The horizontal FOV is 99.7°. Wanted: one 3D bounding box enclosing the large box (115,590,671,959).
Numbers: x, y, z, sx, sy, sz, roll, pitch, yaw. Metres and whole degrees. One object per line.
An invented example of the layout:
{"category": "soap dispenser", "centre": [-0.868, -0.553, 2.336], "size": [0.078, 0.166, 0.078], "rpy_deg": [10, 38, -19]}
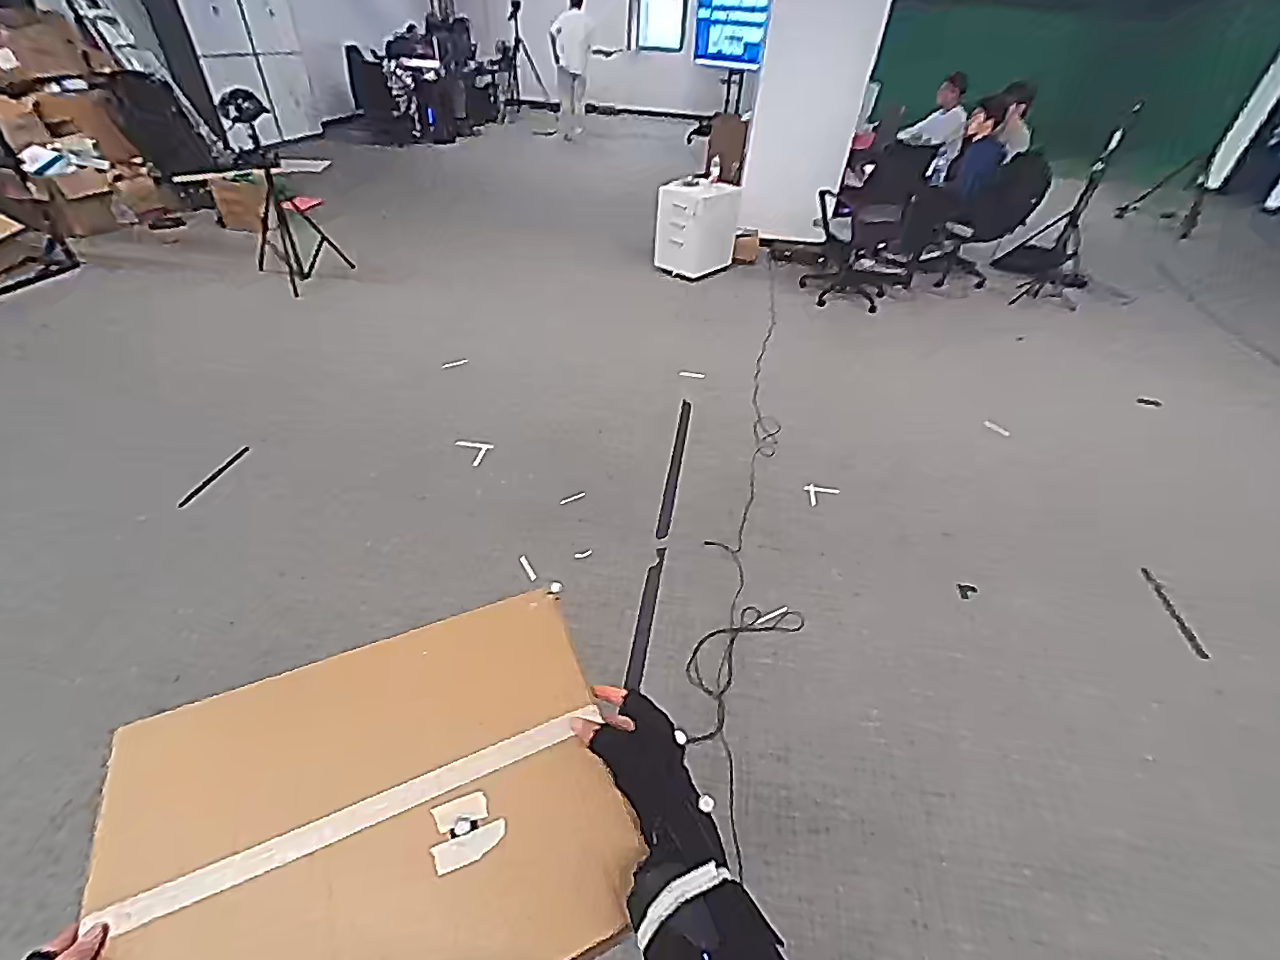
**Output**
{"category": "large box", "centre": [-0.225, 0.382, 0.583], "size": [0.408, 0.320, 0.320], "rpy_deg": [-14, 51, -19]}
